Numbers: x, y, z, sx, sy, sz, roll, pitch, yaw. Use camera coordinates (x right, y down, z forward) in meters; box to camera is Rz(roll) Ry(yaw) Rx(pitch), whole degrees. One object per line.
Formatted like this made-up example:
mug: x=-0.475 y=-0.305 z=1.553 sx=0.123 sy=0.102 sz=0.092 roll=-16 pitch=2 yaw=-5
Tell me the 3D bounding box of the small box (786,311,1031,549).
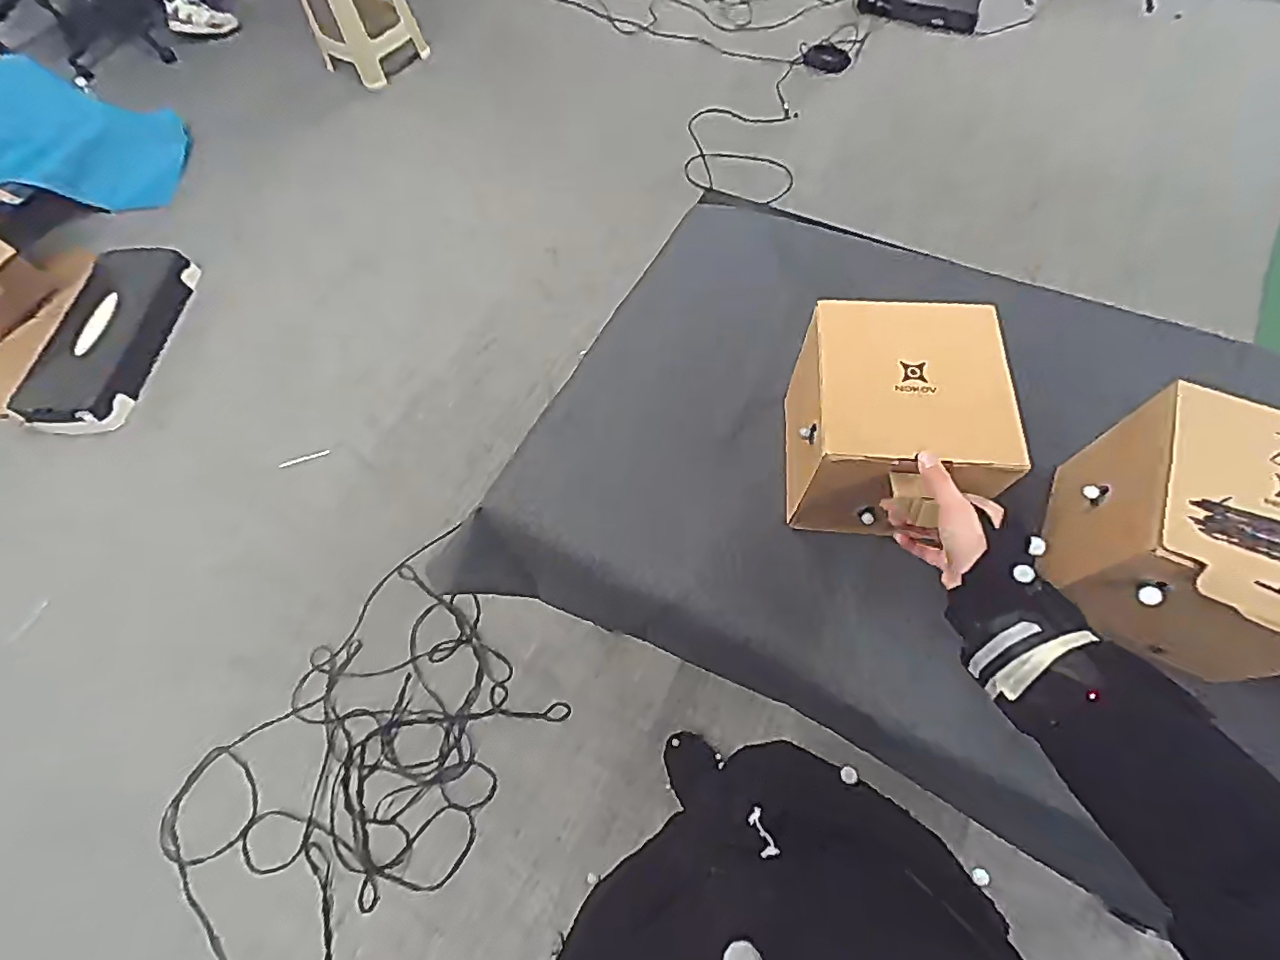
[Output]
small box: x=0.247 y=-0.045 z=0.550 sx=0.168 sy=0.176 sz=0.179 roll=4 pitch=64 yaw=5
